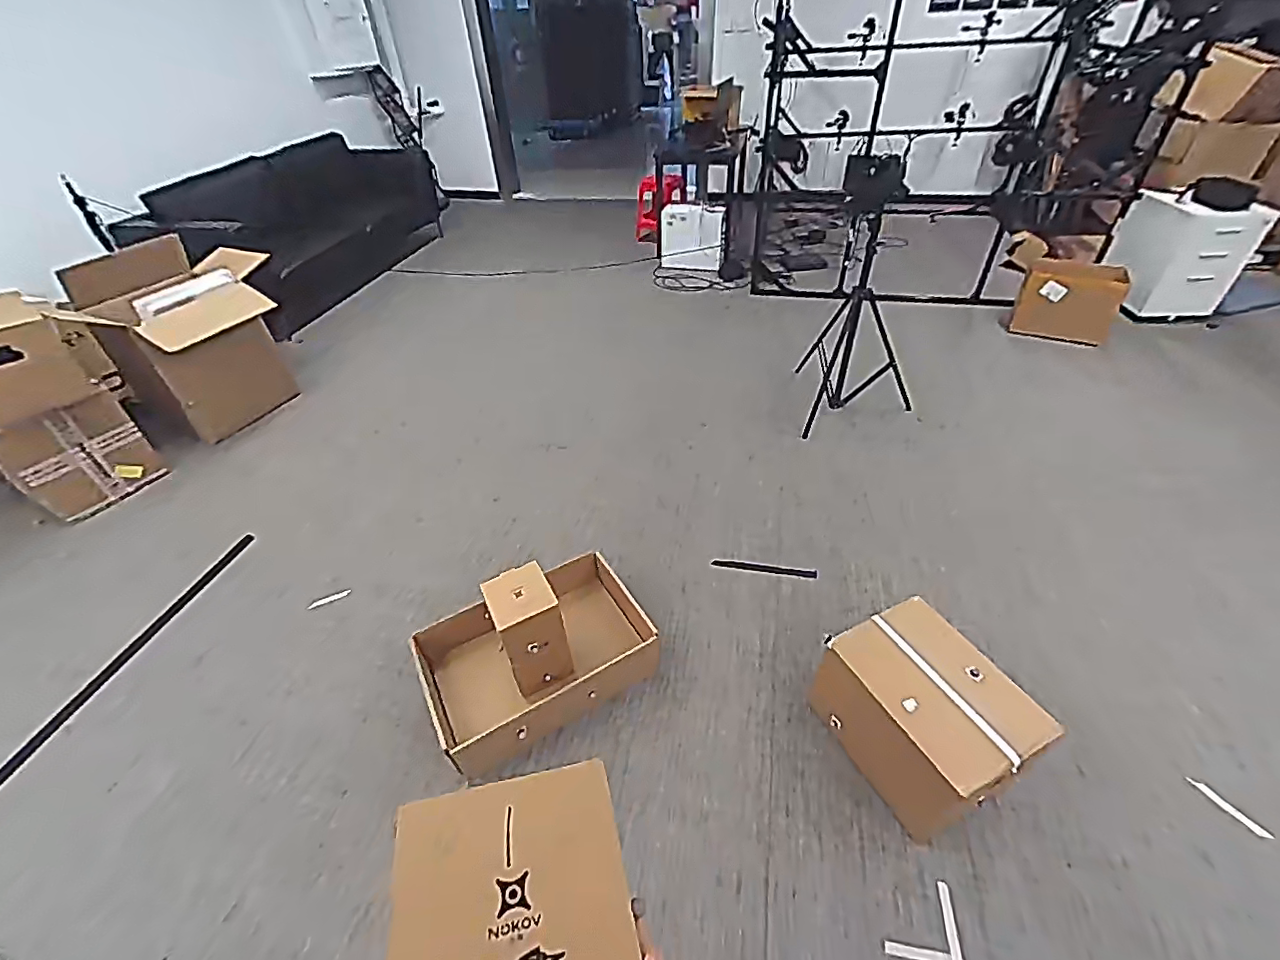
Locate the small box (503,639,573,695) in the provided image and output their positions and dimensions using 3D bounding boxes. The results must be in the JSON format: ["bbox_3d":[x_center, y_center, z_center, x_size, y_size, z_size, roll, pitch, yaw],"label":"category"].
[{"bbox_3d":[-0.308,0.485,1.573,0.168,0.176,0.179,-21,44,-19],"label":"small box"}]

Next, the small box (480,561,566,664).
[{"bbox_3d":[-0.315,0.361,1.469,0.168,0.176,0.179,-23,45,-20],"label":"small box"}]

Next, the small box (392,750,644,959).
[{"bbox_3d":[-0.091,0.354,0.435,0.168,0.176,0.179,-7,42,-13],"label":"small box"}]
